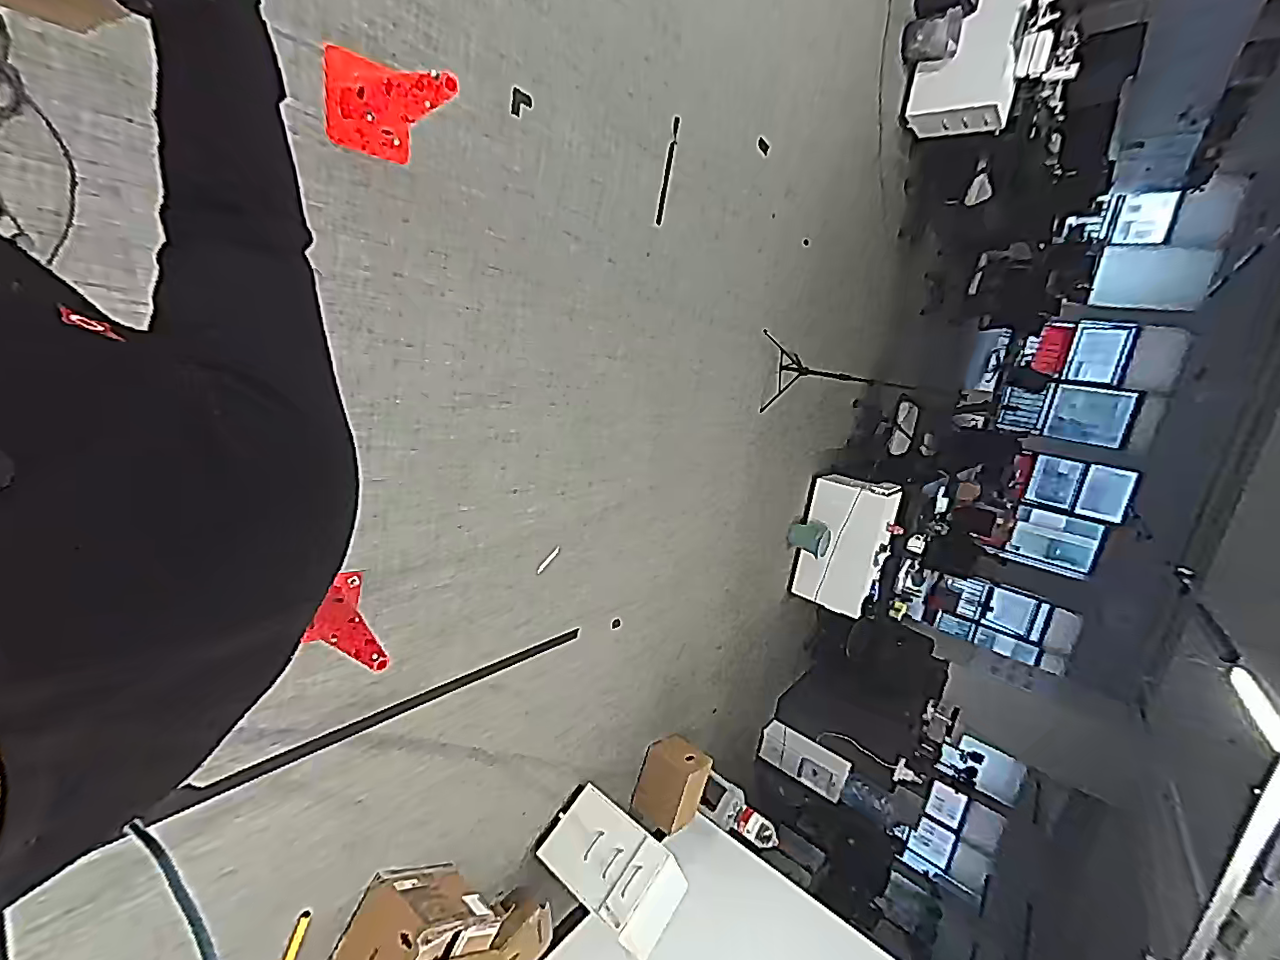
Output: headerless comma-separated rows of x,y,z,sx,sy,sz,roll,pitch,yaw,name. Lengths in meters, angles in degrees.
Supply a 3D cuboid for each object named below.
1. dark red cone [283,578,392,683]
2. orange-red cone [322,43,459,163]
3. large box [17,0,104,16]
-0.753,0.412,1.406,0.201,0.394,0.202,3,103,-52,dark red cone
-0.519,-0.849,1.189,0.198,0.360,0.199,-11,112,-51,orange-red cone
-0.531,-0.502,0.243,0.408,0.320,0.320,-12,123,-51,large box
